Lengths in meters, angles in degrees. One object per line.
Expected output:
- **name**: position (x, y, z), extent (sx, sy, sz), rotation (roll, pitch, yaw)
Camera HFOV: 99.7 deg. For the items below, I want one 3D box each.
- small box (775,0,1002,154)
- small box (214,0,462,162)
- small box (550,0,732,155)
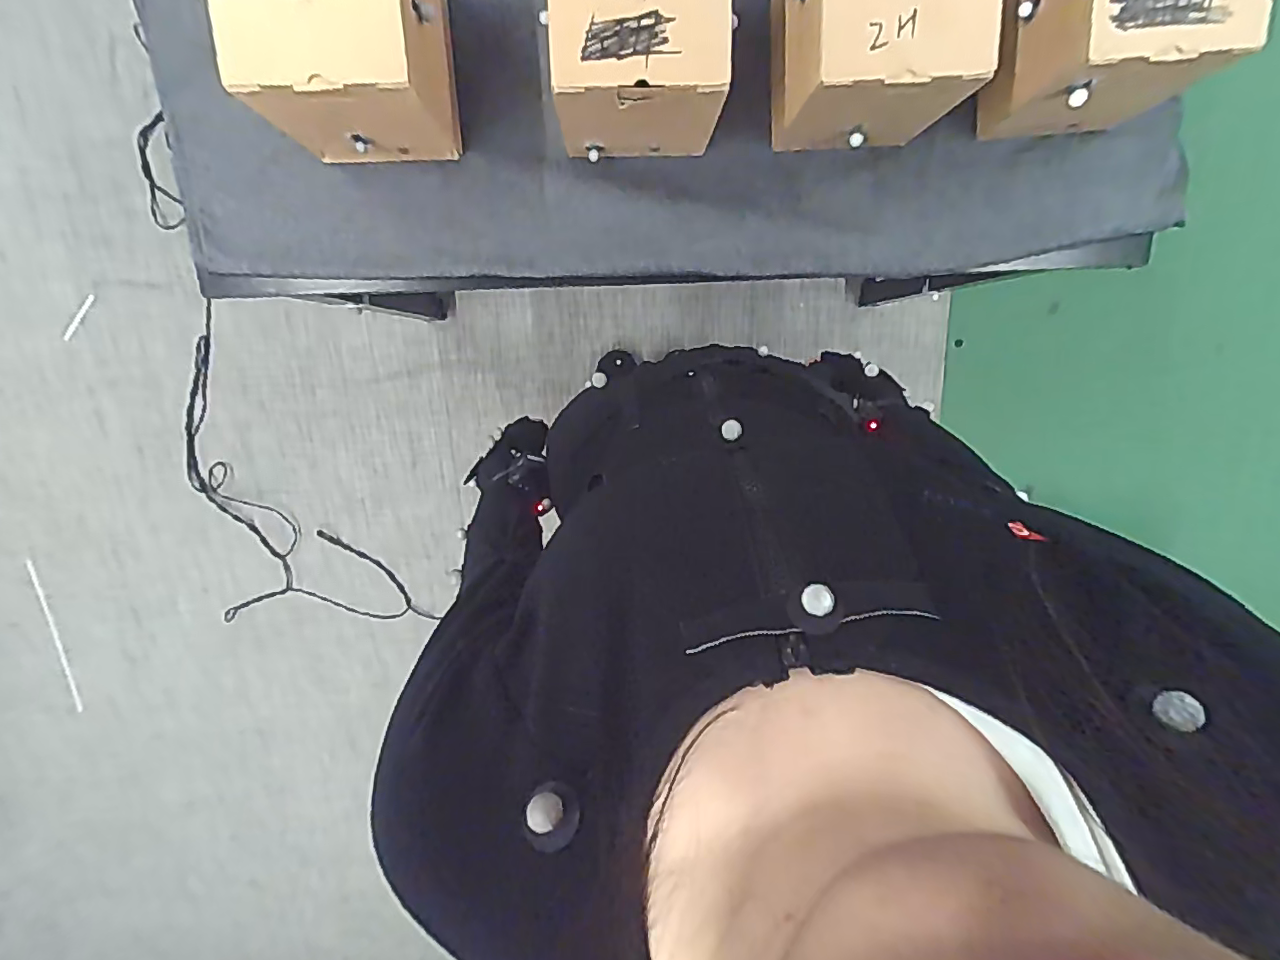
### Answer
- **small box**: position (0.241, -0.467, 0.559), extent (0.168, 0.176, 0.179), rotation (-3, 102, 0)
- **small box**: position (-0.289, -0.447, 0.543), extent (0.168, 0.176, 0.179), rotation (-3, 102, -2)
- **small box**: position (-0.001, -0.454, 0.553), extent (0.168, 0.176, 0.179), rotation (-2, 101, -2)
